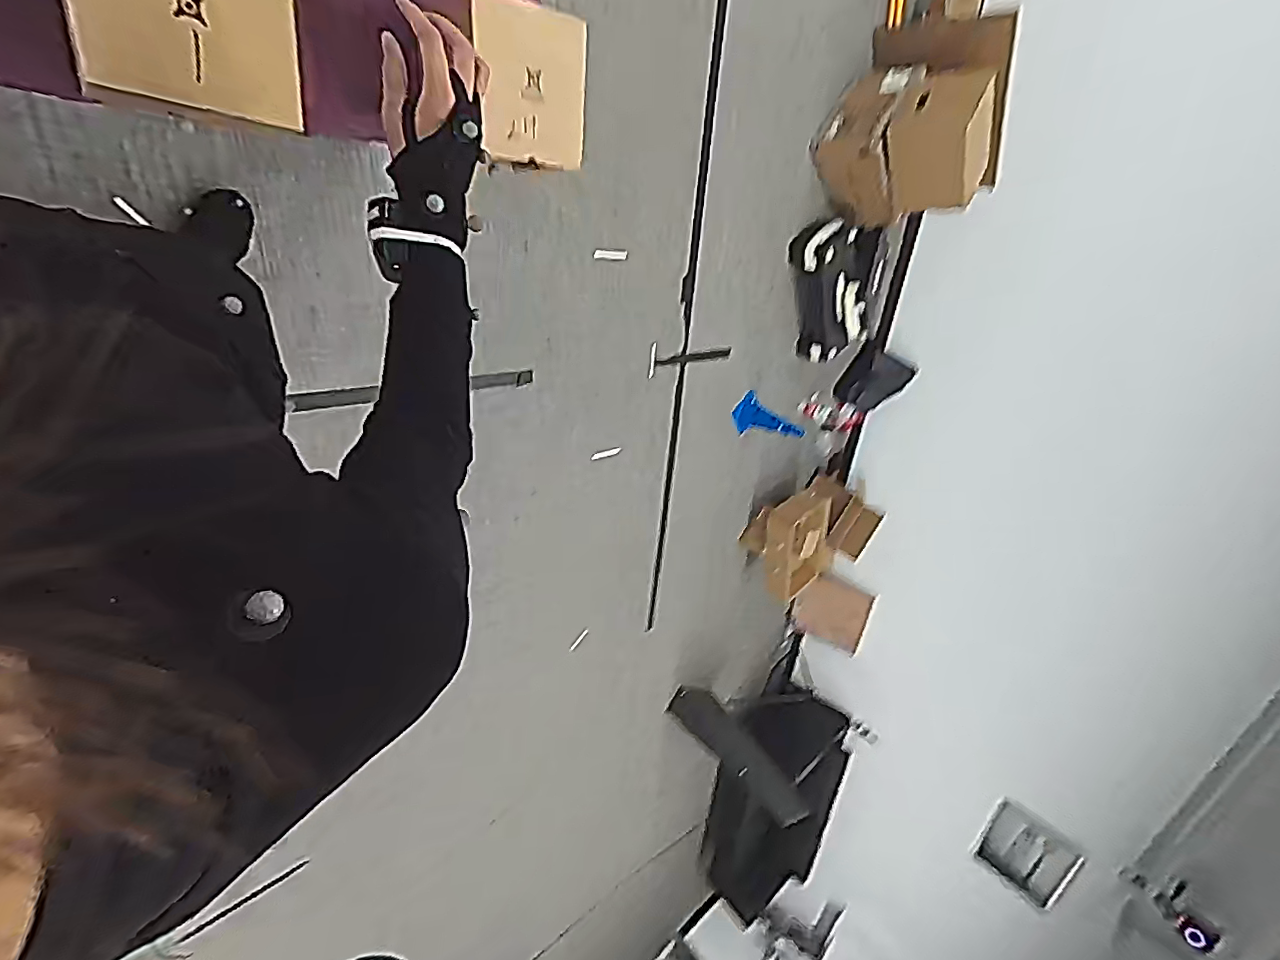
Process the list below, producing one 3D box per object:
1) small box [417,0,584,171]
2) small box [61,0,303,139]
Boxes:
[{"bbox_3d":[-0.195,-0.540,0.753,0.168,0.176,0.179,-17,124,-38],"label":"small box"},{"bbox_3d":[-0.455,-0.457,0.533,0.168,0.176,0.179,-13,122,-41],"label":"small box"}]
